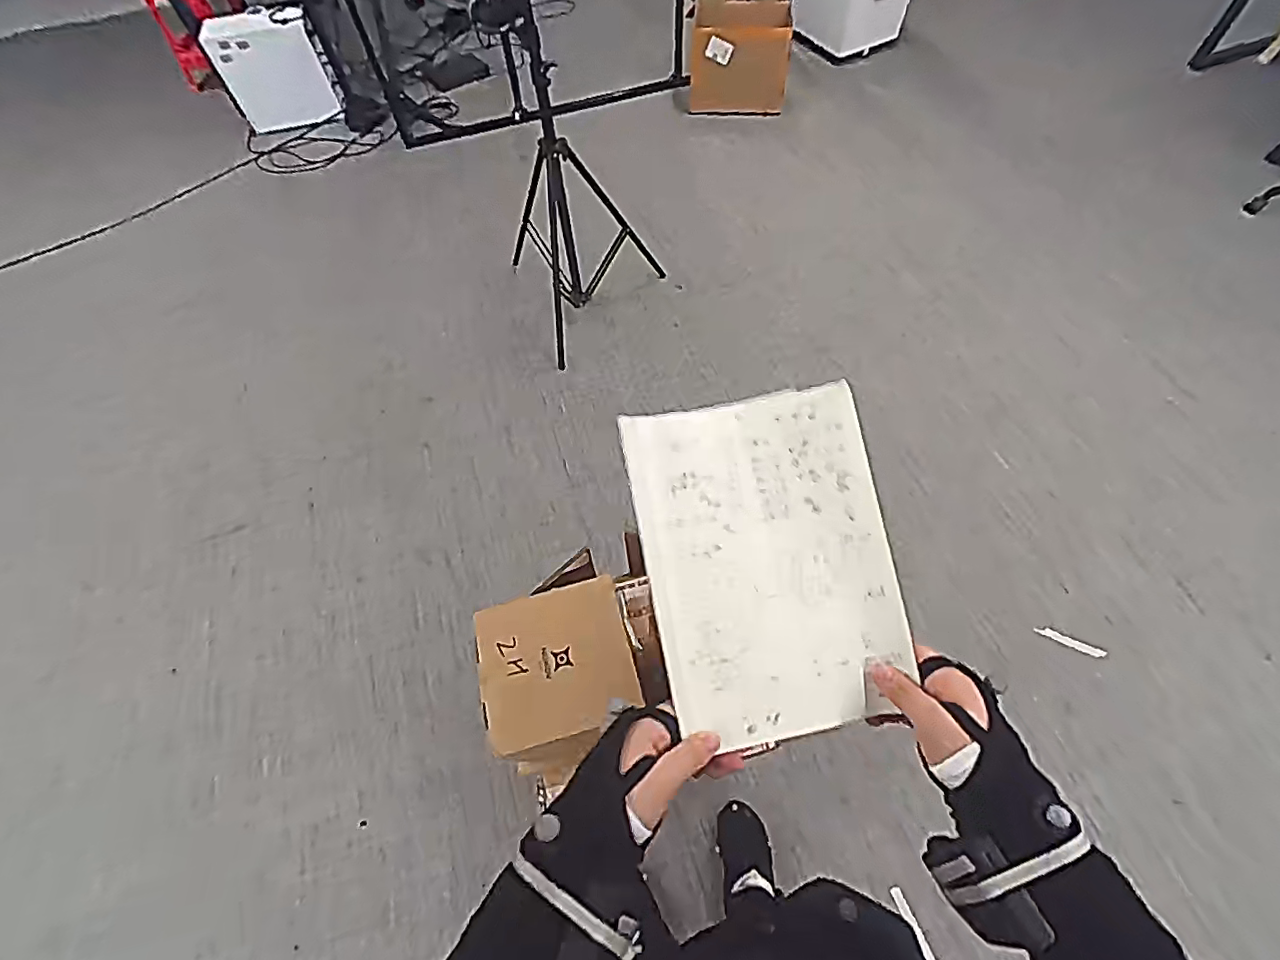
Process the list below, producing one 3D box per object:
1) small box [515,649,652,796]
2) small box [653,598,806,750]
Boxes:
[{"bbox_3d":[-0.080,0.368,0.825,0.179,0.176,0.168,-11,62,-2],"label":"small box"},{"bbox_3d":[0.127,0.308,0.851,0.179,0.176,0.168,-18,62,-9],"label":"small box"}]
